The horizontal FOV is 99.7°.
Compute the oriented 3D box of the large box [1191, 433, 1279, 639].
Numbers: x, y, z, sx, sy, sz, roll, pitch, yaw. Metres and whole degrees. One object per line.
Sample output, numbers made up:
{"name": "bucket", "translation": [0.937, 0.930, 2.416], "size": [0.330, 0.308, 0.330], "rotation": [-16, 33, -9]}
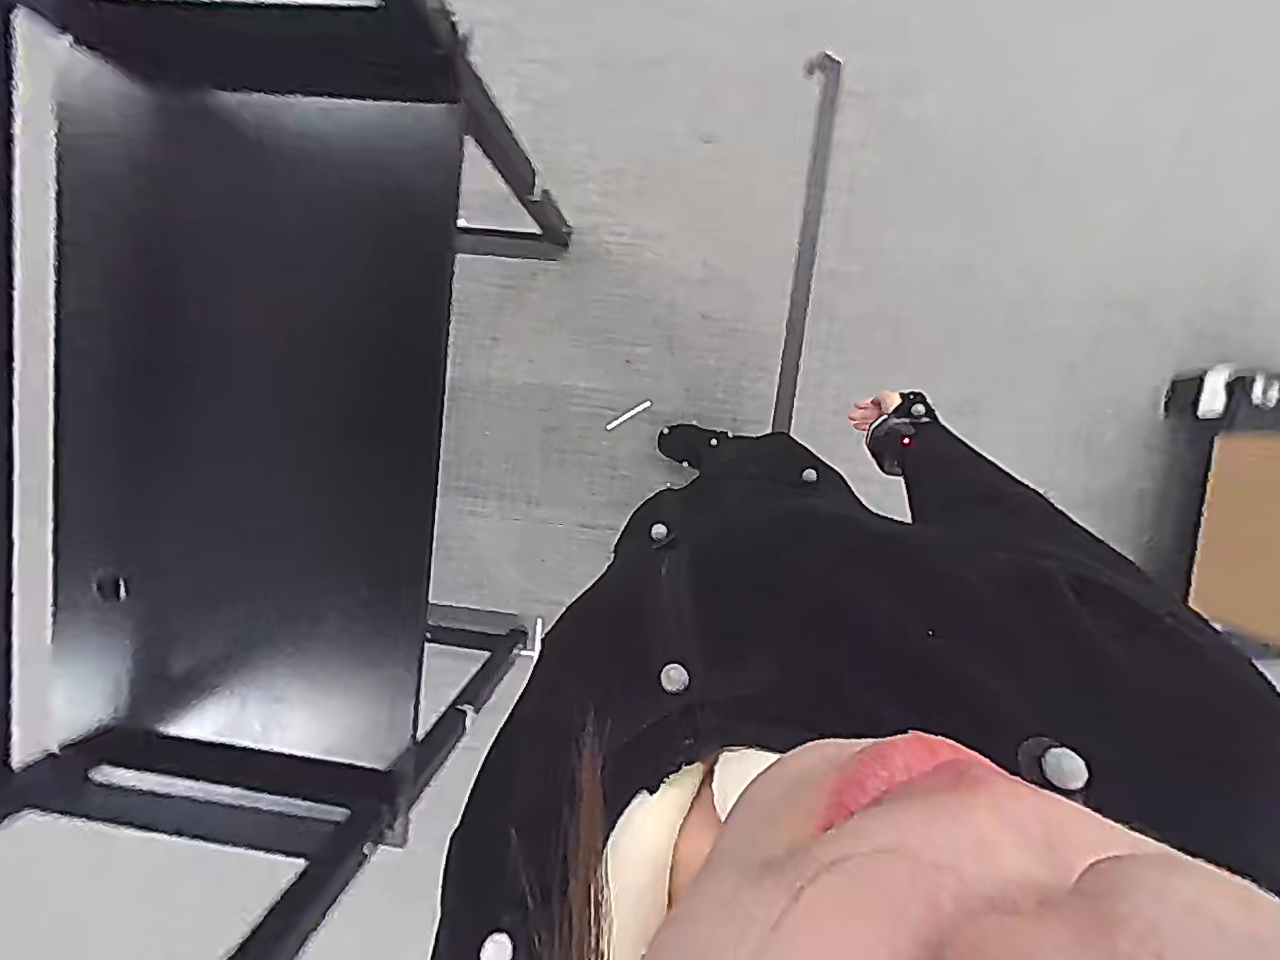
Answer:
{"name": "large box", "translation": [1.398, 0.114, 1.060], "size": [0.320, 0.320, 0.408], "rotation": [3, 95, 3]}
